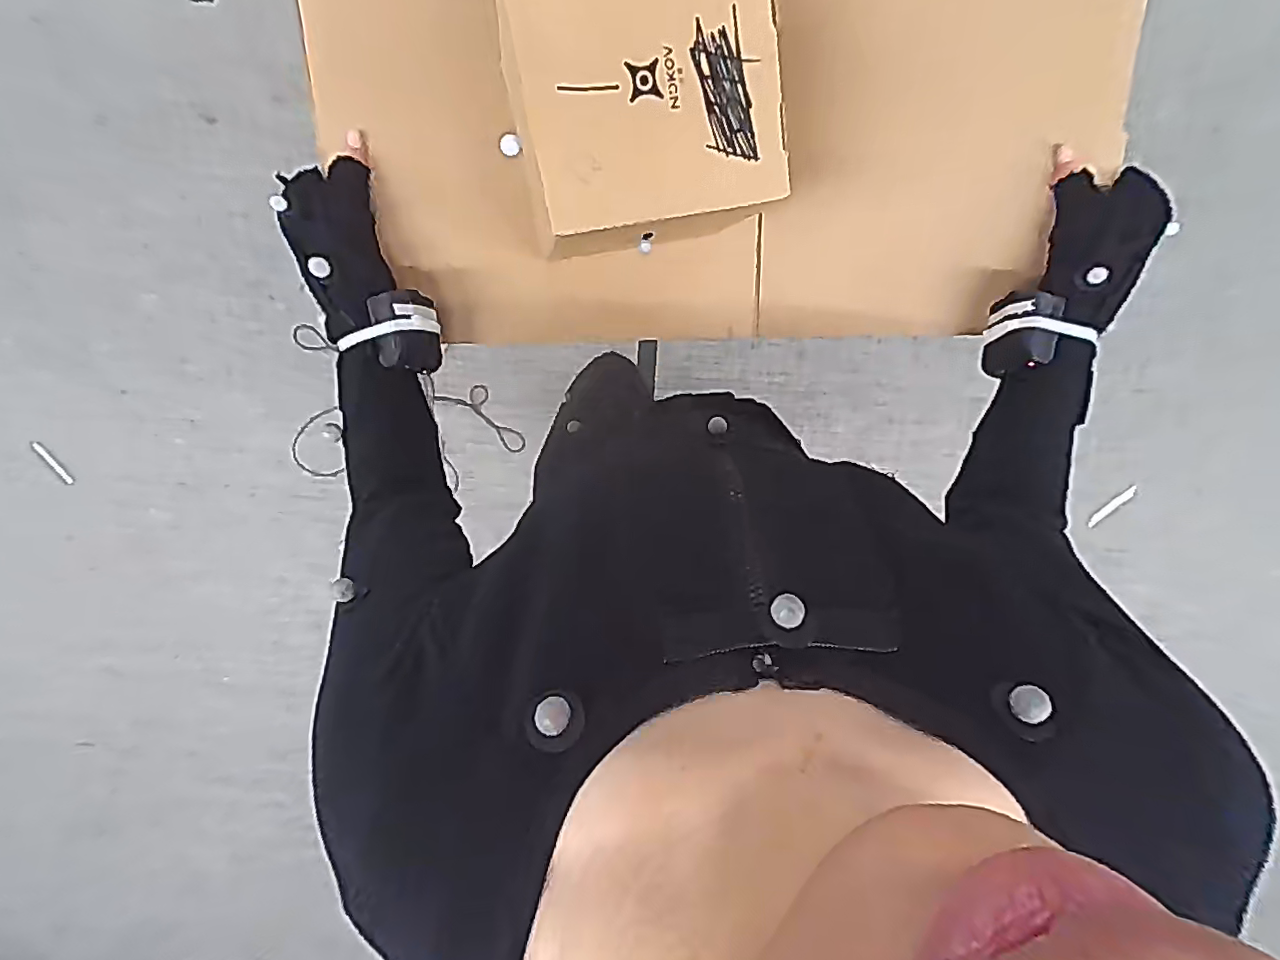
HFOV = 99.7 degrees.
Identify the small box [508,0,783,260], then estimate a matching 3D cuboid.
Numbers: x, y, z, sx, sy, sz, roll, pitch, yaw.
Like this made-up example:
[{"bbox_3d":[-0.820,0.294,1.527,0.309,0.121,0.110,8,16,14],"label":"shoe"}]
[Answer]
[{"bbox_3d":[-0.006,-0.285,0.439,0.179,0.176,0.168,-13,108,-8],"label":"small box"}]
